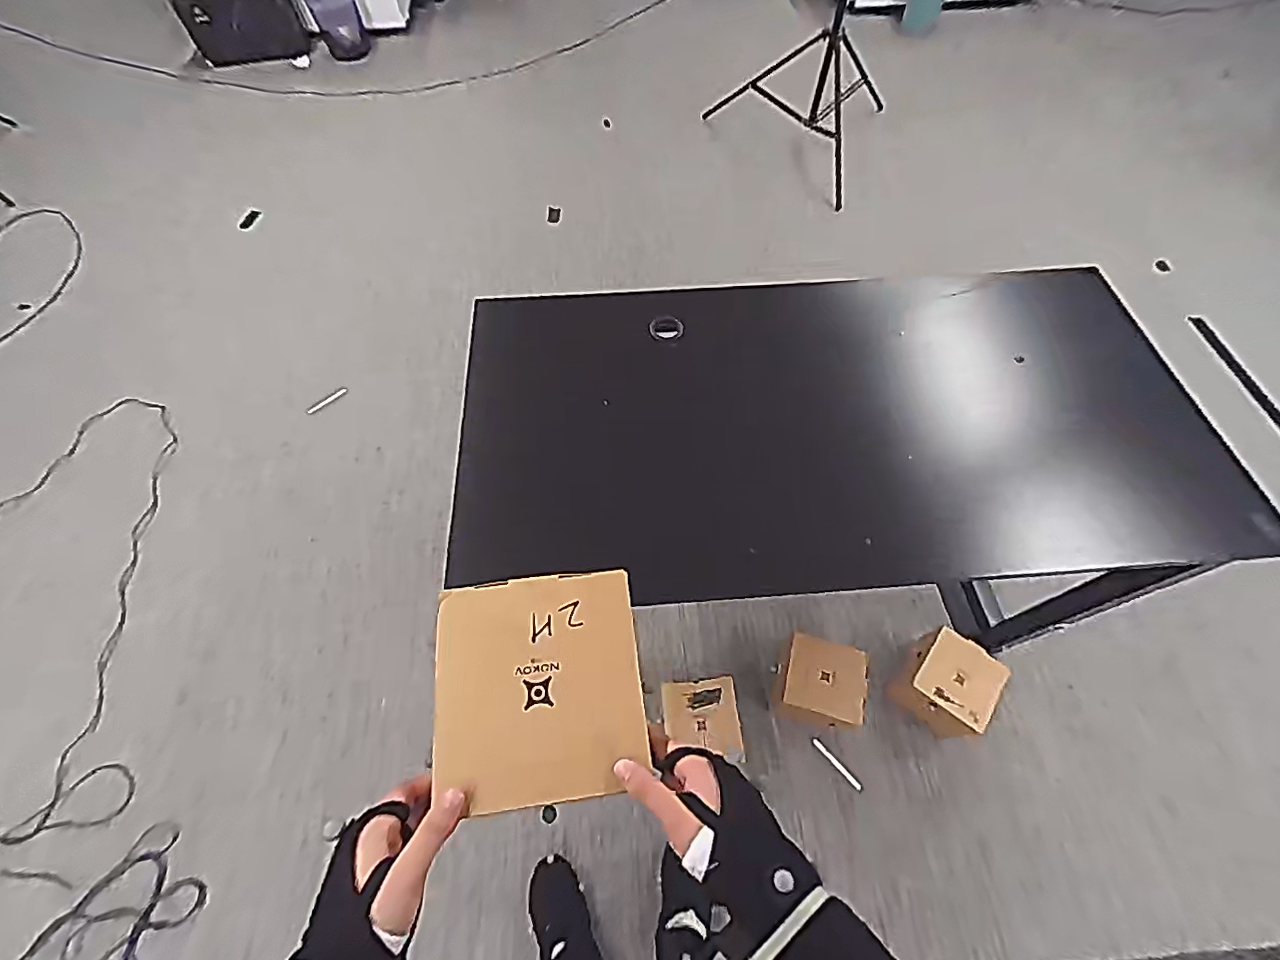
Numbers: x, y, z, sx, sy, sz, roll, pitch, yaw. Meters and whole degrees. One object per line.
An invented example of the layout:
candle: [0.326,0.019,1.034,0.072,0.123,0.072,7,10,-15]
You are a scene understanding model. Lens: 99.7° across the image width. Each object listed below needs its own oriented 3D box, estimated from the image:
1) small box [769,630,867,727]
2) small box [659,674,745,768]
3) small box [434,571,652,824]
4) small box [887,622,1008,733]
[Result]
small box: [0.422,0.482,1.297,0.179,0.176,0.168,14,61,9]
small box: [0.134,0.561,1.252,0.168,0.176,0.179,-5,62,-2]
small box: [-0.084,0.202,0.508,0.168,0.176,0.179,-6,62,-7]
small box: [0.725,0.477,1.294,0.168,0.176,0.179,35,67,18]
